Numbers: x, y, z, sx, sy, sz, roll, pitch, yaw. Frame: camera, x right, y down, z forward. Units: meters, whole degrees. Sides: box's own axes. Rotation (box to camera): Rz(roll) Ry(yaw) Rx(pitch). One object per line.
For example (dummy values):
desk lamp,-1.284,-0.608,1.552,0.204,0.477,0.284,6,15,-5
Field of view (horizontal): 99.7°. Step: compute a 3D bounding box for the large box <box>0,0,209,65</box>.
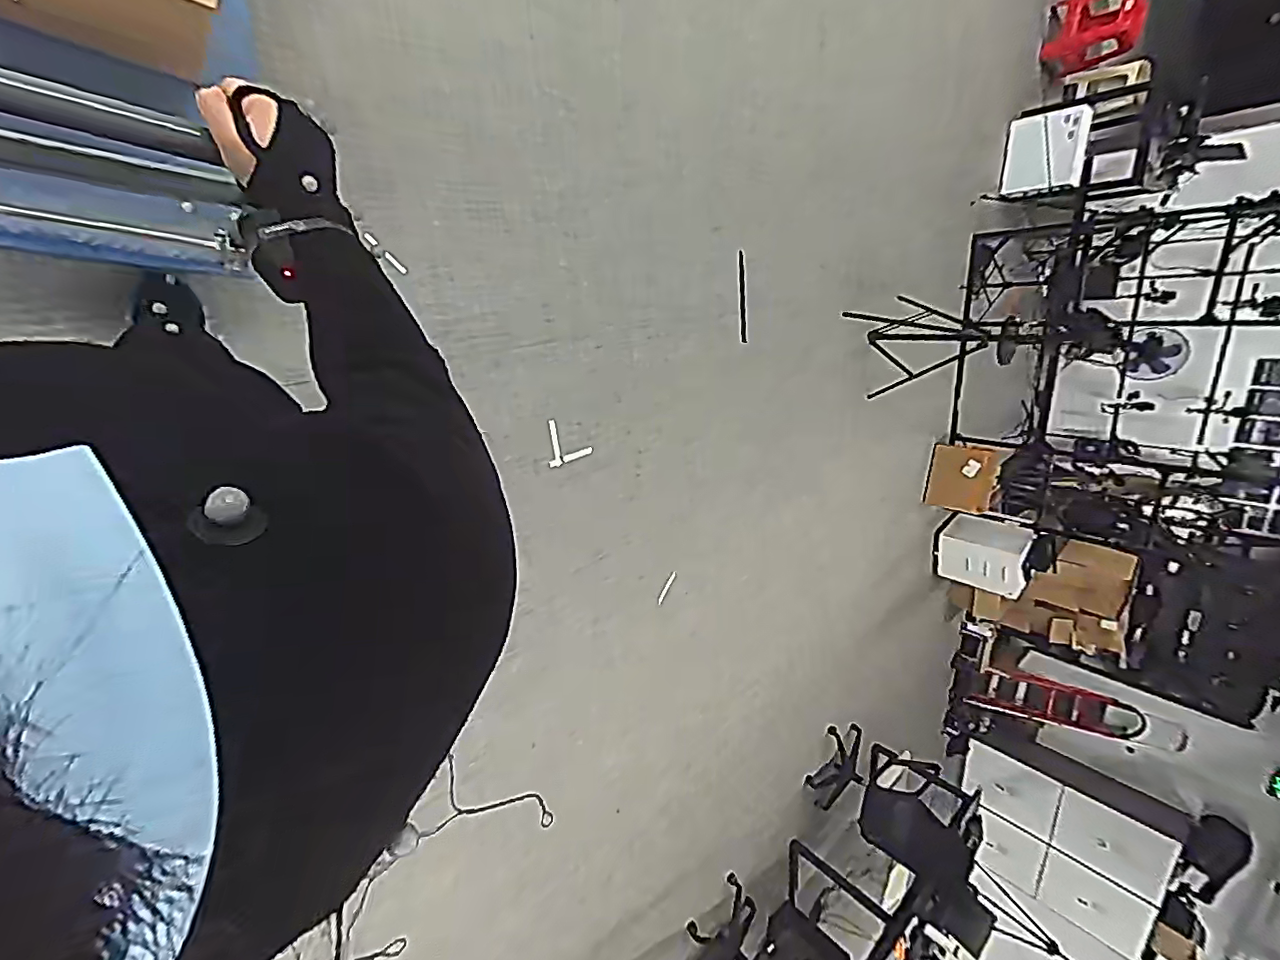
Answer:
large box,-0.811,-0.813,0.672,0.408,0.320,0.320,-5,105,-41
